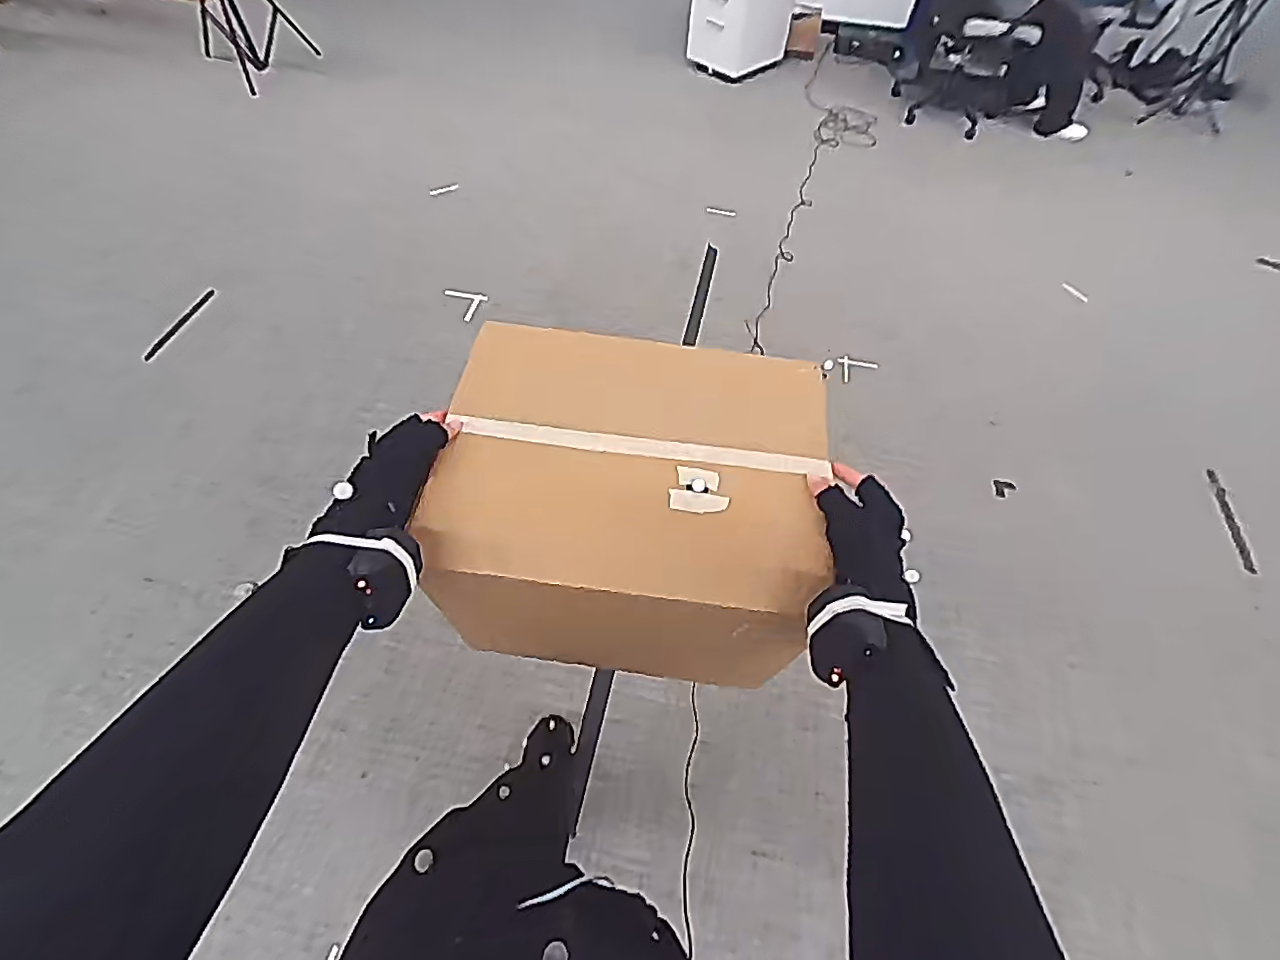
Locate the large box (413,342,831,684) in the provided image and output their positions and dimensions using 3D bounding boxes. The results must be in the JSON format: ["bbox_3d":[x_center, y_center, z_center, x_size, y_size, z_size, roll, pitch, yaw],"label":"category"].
[{"bbox_3d":[-0.014,0.058,0.707,0.408,0.320,0.320,7,58,0],"label":"large box"}]
